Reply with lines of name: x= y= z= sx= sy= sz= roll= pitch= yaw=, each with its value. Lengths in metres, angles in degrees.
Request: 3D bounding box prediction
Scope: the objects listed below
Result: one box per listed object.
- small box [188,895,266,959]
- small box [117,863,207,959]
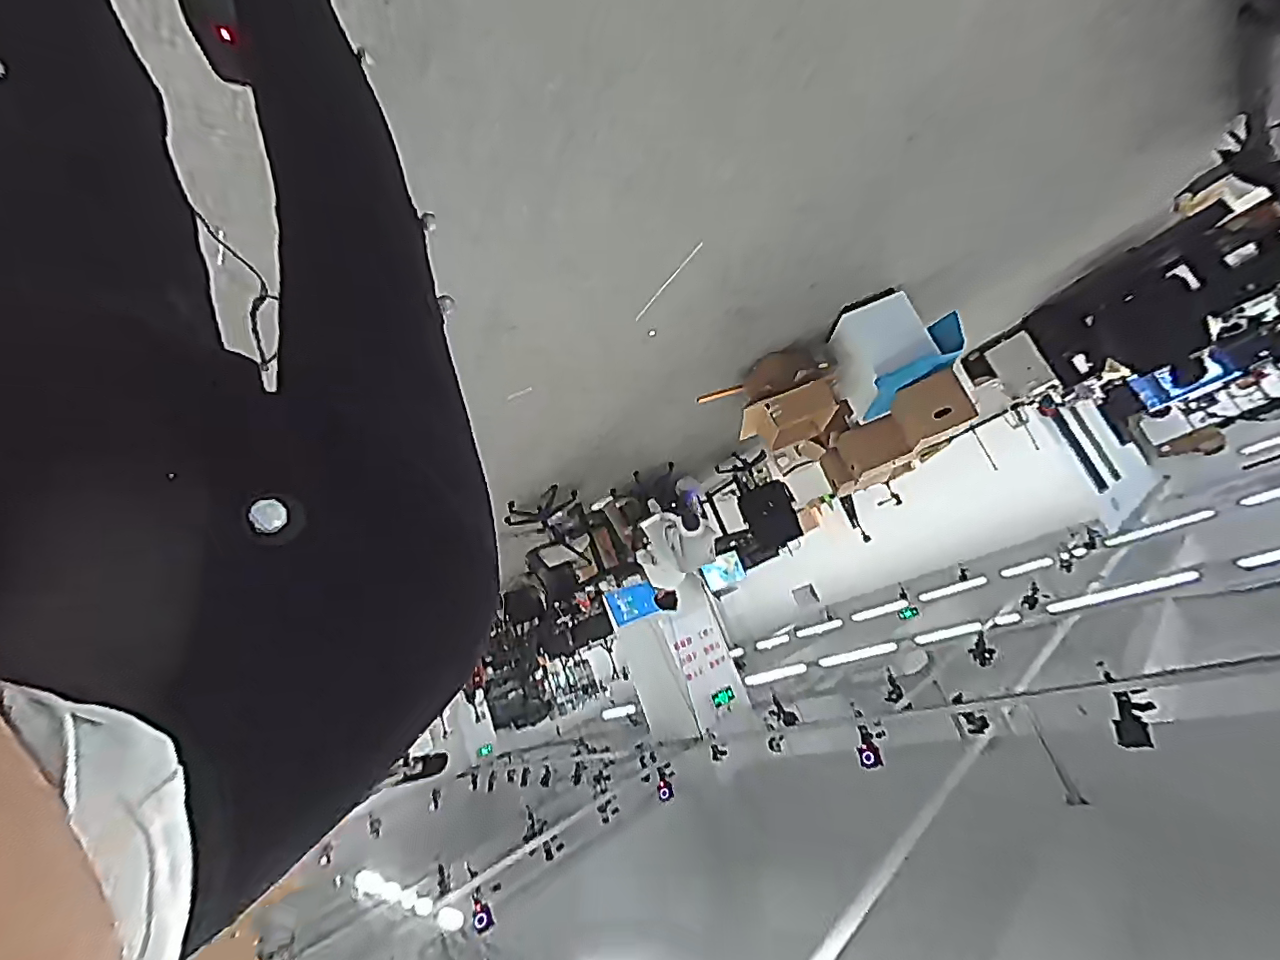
small box: x=-1.251 y=1.394 z=1.635 sx=0.168 sy=0.176 sz=0.179 roll=-8 pitch=161 yaw=-42
small box: x=-1.395 y=1.254 z=1.583 sx=0.179 sy=0.176 sz=0.168 roll=-9 pitch=161 yaw=-40
